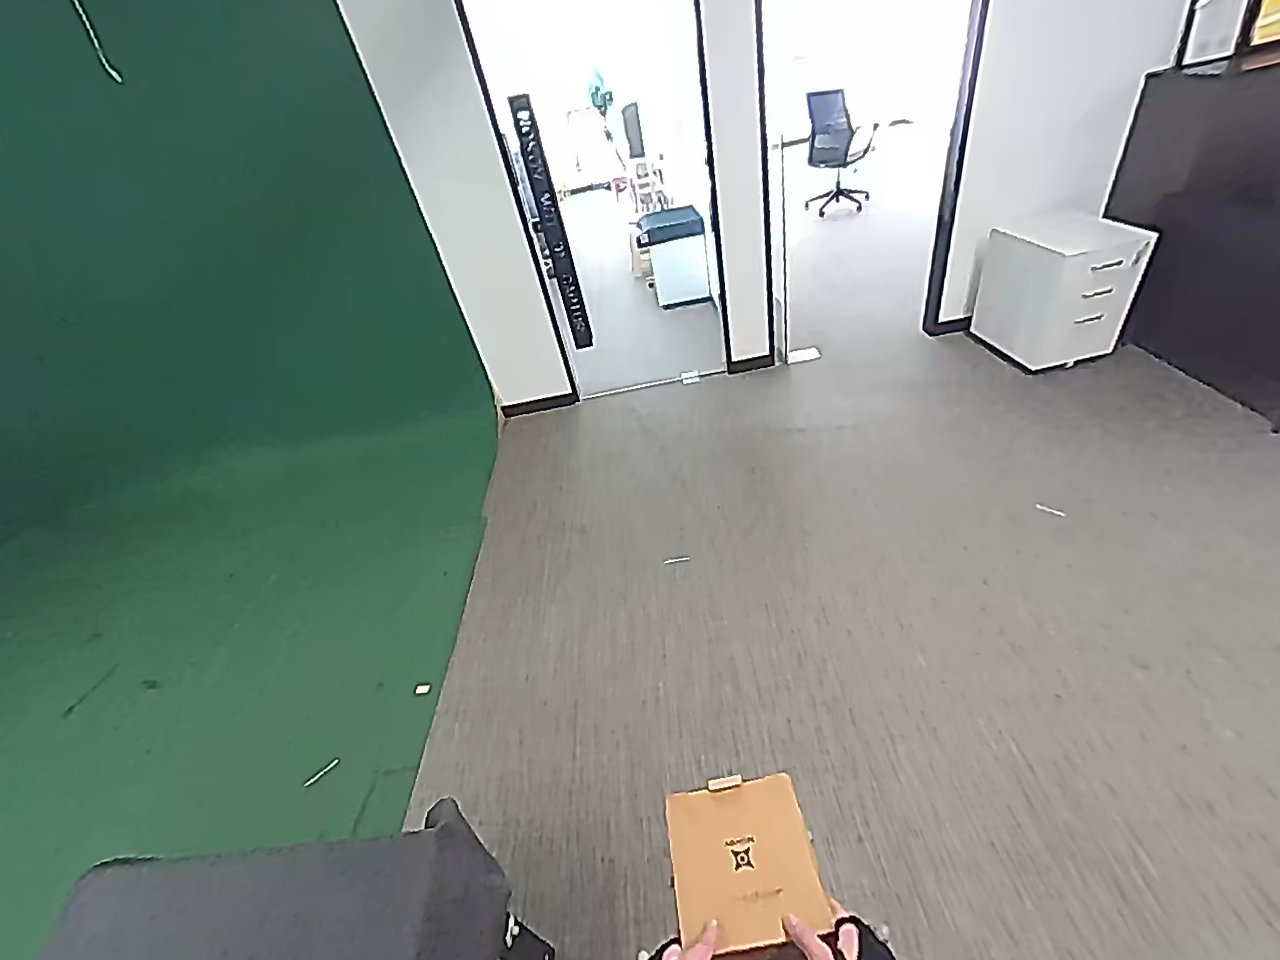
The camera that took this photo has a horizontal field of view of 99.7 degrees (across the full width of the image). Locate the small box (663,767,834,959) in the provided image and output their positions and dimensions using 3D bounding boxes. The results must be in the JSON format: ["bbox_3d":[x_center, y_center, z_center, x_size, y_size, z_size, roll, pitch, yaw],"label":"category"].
[{"bbox_3d":[0.127,0.492,0.659,0.168,0.176,0.179,-12,29,4],"label":"small box"}]
